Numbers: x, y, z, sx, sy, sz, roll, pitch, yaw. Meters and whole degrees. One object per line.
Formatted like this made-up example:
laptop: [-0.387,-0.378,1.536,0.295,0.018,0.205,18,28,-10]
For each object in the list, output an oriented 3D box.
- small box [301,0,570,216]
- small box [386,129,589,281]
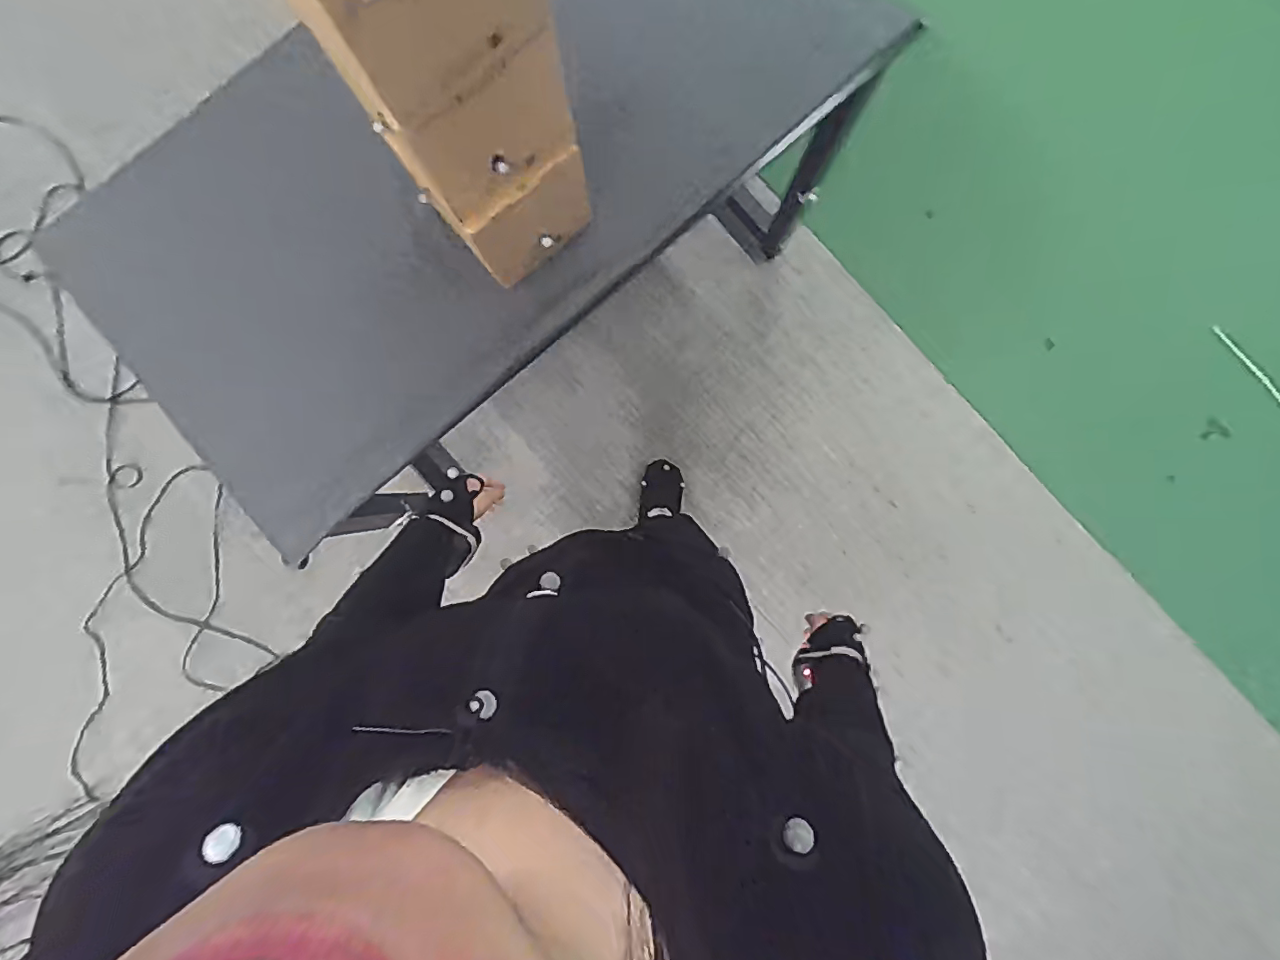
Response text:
small box: [-0.190,-0.410,0.537,0.168,0.176,0.179,-39,88,-1]
small box: [-0.185,-0.396,0.699,0.168,0.176,0.179,-40,88,0]
